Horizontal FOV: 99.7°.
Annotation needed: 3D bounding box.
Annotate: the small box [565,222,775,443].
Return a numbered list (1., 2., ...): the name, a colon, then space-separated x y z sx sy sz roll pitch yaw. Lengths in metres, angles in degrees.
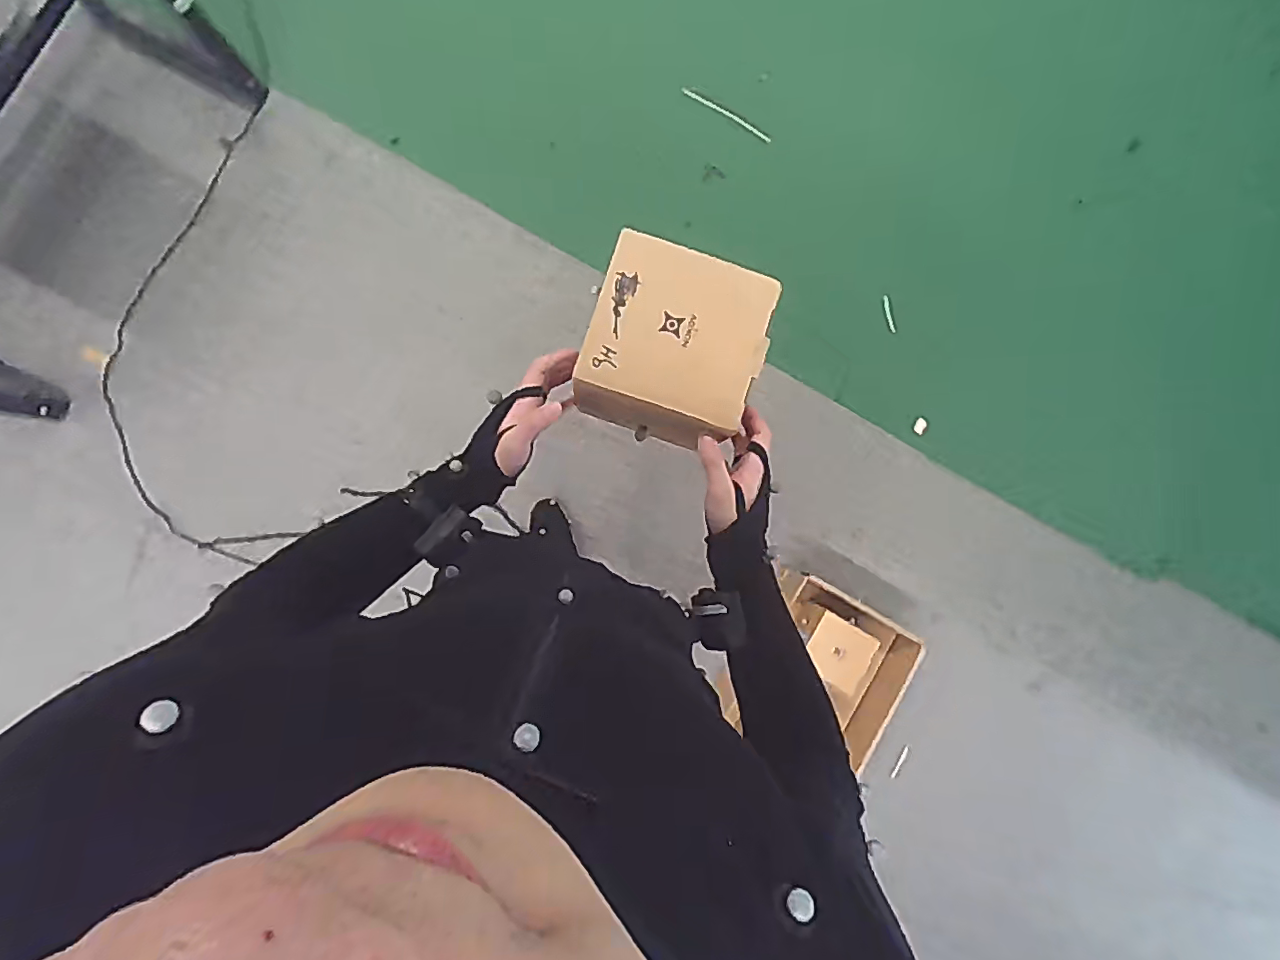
1. small box: 0.024 -0.148 0.613 0.179 0.176 0.168 18 83 -5

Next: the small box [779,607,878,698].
1. small box: 0.520 0.474 1.520 0.179 0.176 0.168 31 86 -2
